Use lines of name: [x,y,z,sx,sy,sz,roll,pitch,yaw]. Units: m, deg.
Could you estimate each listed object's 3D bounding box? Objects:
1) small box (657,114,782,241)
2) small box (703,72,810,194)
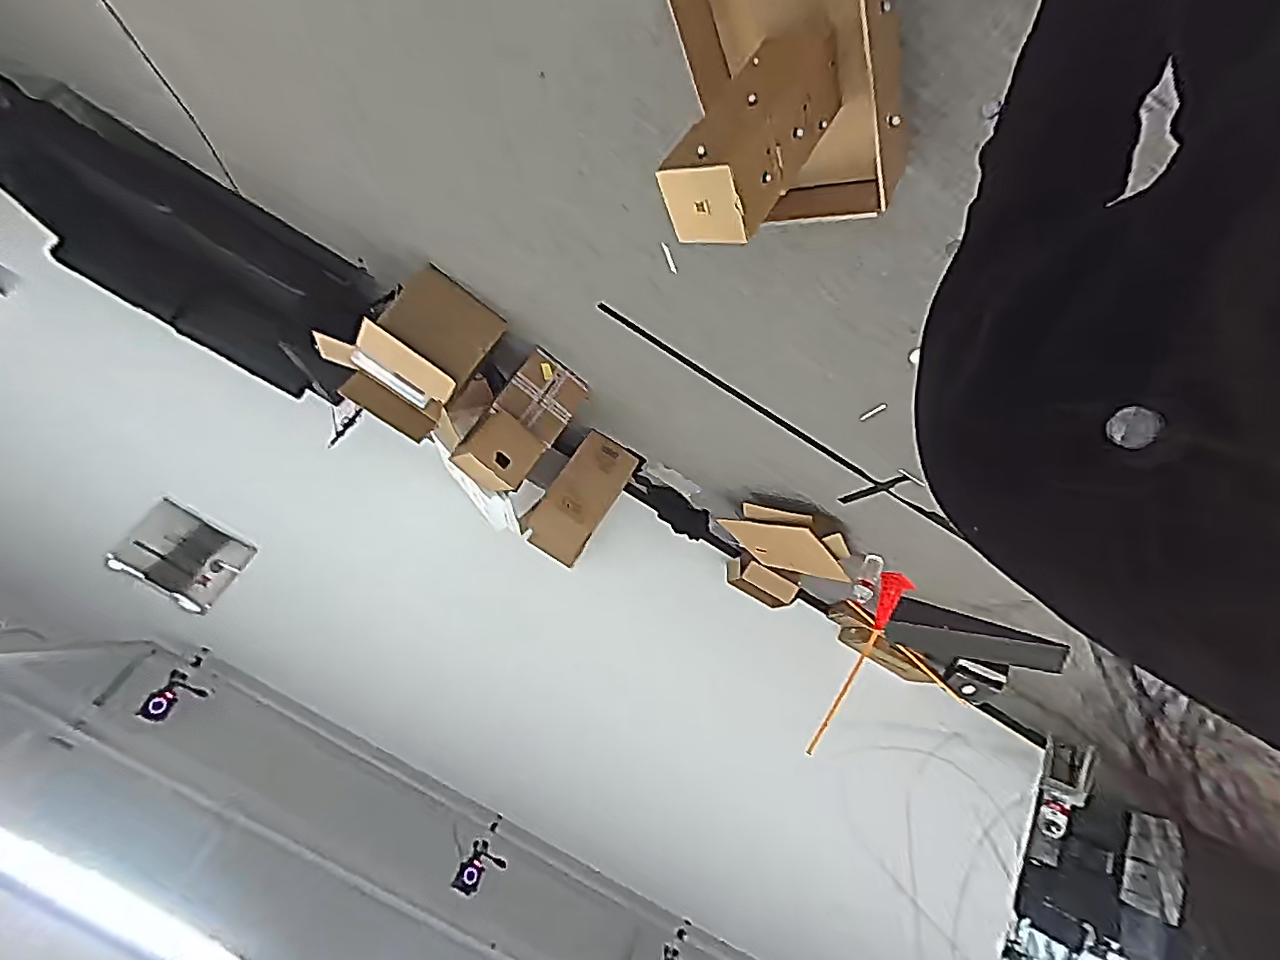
small box: [0.169,-0.620,1.118,0.179,0.176,0.168,17,156,34]
small box: [0.258,-0.746,1.173,0.179,0.176,0.168,17,156,33]
